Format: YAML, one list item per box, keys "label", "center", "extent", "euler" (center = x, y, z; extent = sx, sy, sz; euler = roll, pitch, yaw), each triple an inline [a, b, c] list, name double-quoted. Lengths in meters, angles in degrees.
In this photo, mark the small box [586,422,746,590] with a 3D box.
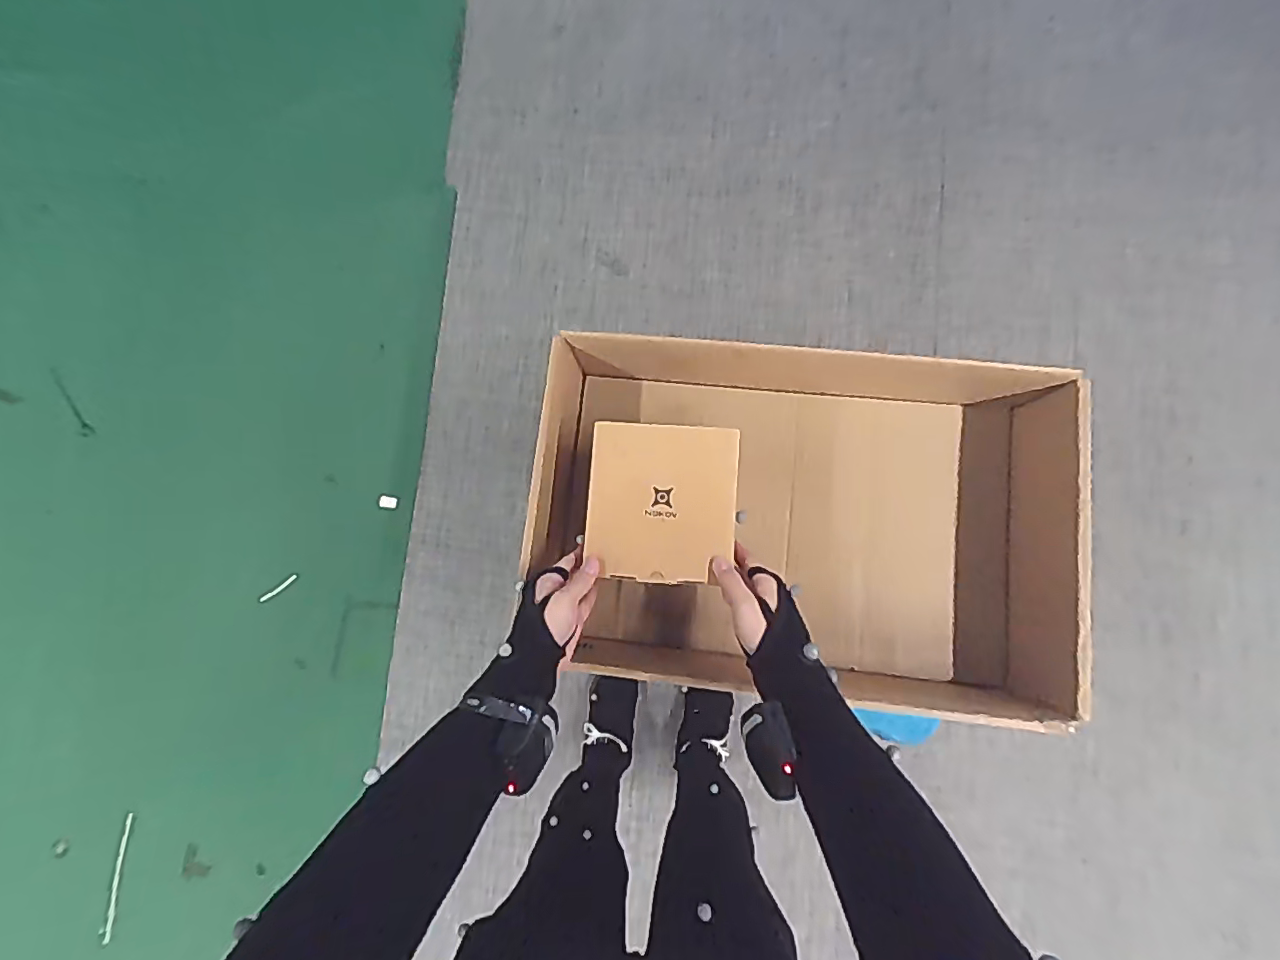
- label: "small box"
  center: [0.033, 0.038, 0.672]
  extent: [0.168, 0.176, 0.179]
  euler: [4, 83, 4]
